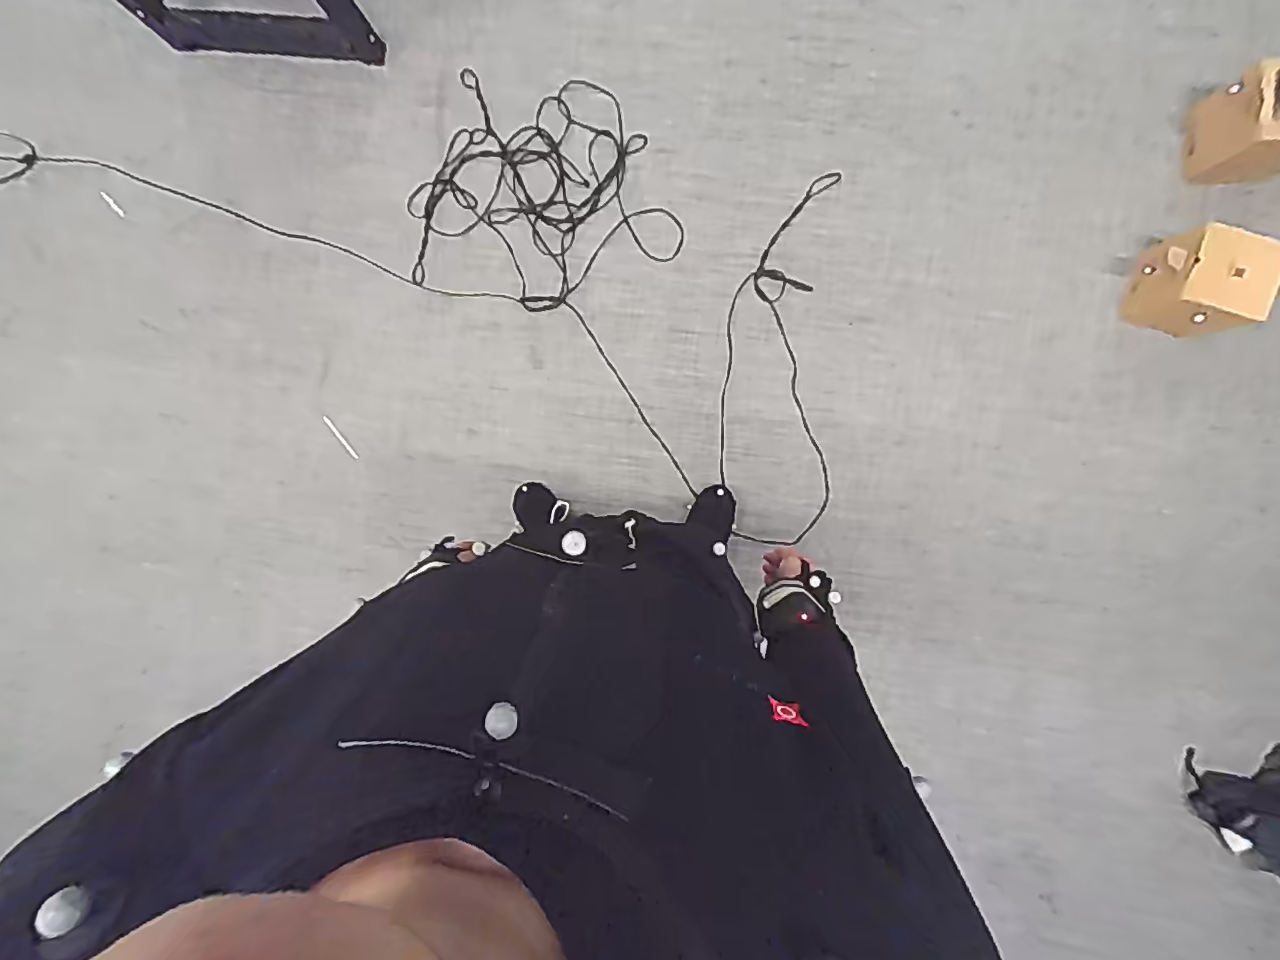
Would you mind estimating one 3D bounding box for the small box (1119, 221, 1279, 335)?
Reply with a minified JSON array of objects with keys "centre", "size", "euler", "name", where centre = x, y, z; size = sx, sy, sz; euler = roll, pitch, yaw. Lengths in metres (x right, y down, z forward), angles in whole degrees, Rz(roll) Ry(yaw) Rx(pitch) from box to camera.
[{"centre":[1.229,-0.432,1.187],"size":[0.179,0.176,0.168],"euler":[18,93,3],"name":"small box"}]
